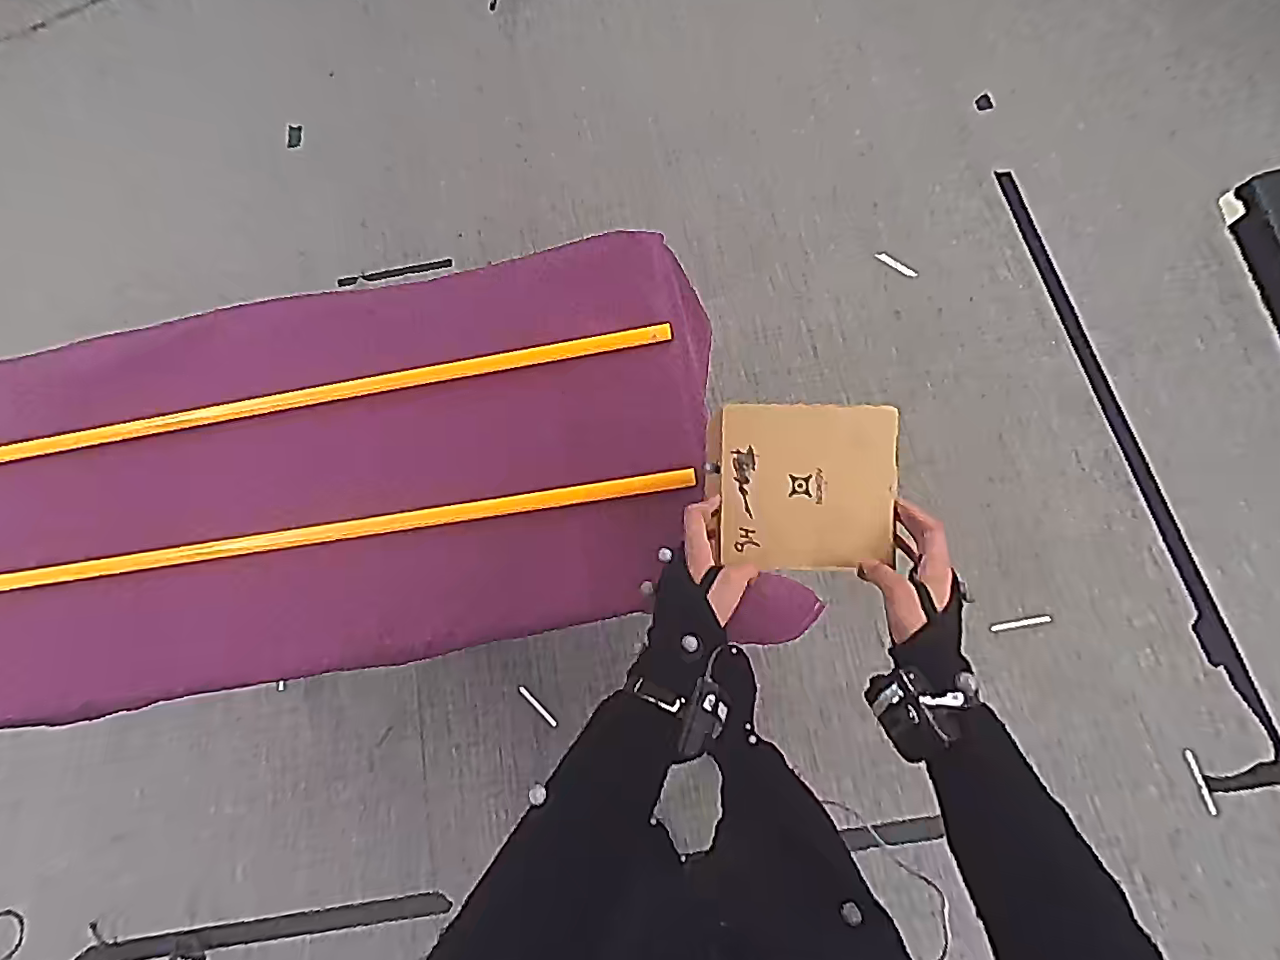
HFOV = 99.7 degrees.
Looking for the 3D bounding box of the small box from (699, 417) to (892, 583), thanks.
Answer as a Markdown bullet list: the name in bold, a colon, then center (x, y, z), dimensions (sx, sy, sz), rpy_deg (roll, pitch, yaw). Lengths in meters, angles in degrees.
- **small box**: center (0.165, 0.020, 0.623), dimensions (0.179, 0.176, 0.168), rpy_deg (1, 90, 2)
